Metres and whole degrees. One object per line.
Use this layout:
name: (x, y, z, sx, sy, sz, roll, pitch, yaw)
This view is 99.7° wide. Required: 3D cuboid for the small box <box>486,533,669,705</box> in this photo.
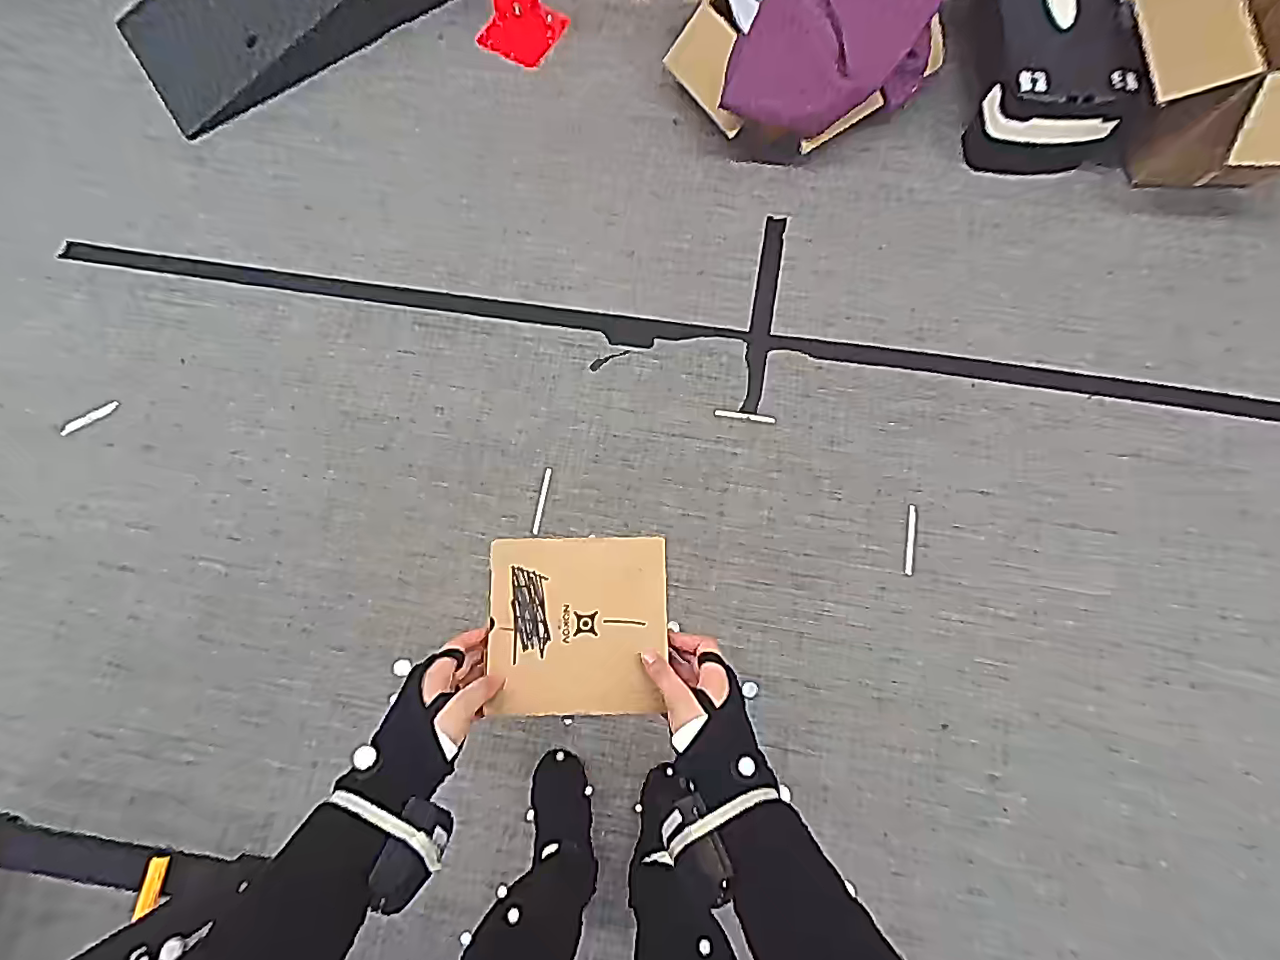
small box: (-0.059, 0.155, 0.605, 0.179, 0.176, 0.168, -1, 74, -1)
